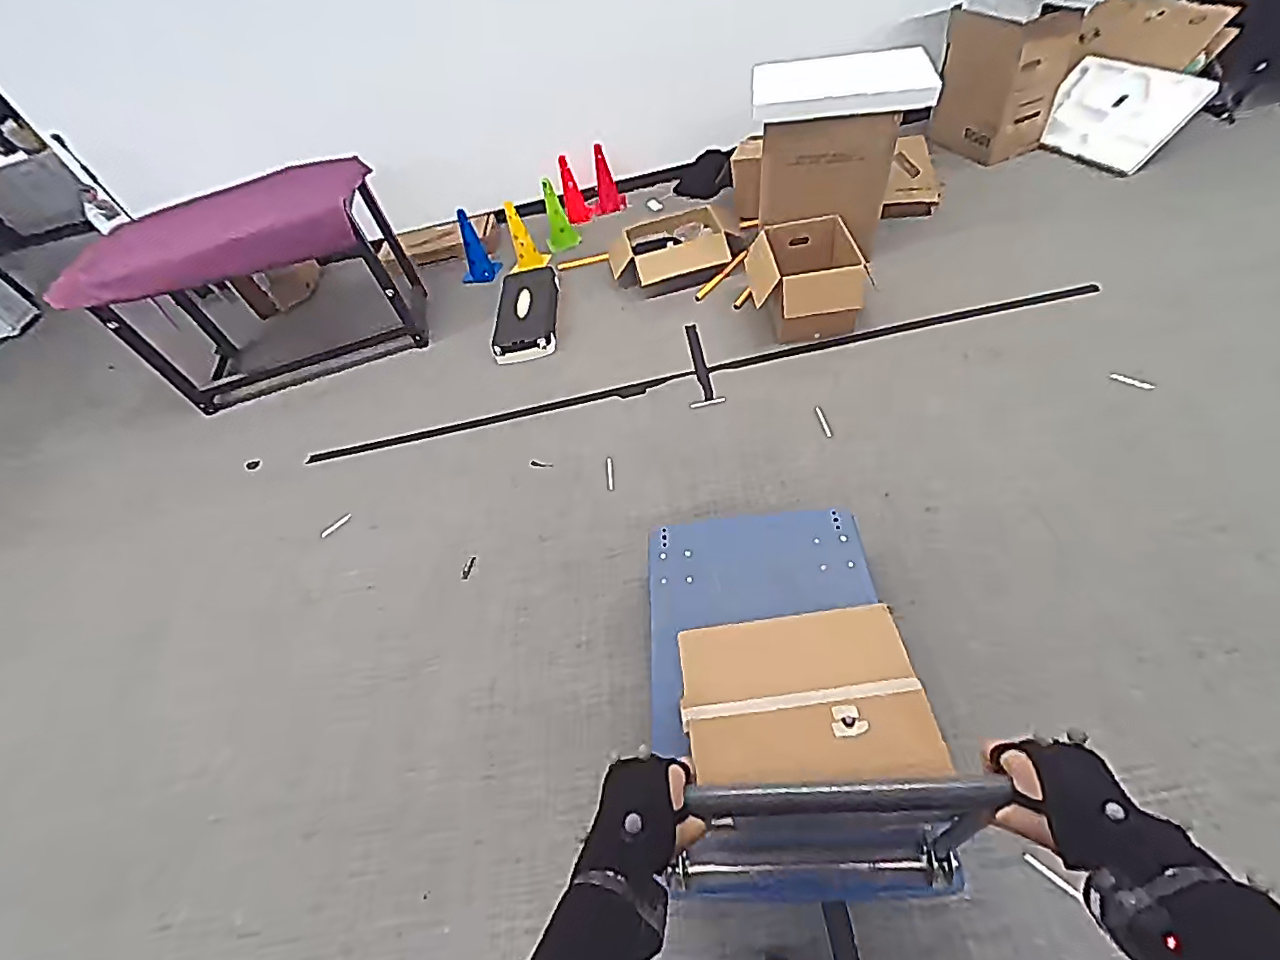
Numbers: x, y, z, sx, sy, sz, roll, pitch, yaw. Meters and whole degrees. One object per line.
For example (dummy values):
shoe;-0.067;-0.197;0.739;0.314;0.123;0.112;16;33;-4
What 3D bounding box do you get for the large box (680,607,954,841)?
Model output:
large box;0.307;0.485;1.062;0.408;0.320;0.320;-9;50;4
